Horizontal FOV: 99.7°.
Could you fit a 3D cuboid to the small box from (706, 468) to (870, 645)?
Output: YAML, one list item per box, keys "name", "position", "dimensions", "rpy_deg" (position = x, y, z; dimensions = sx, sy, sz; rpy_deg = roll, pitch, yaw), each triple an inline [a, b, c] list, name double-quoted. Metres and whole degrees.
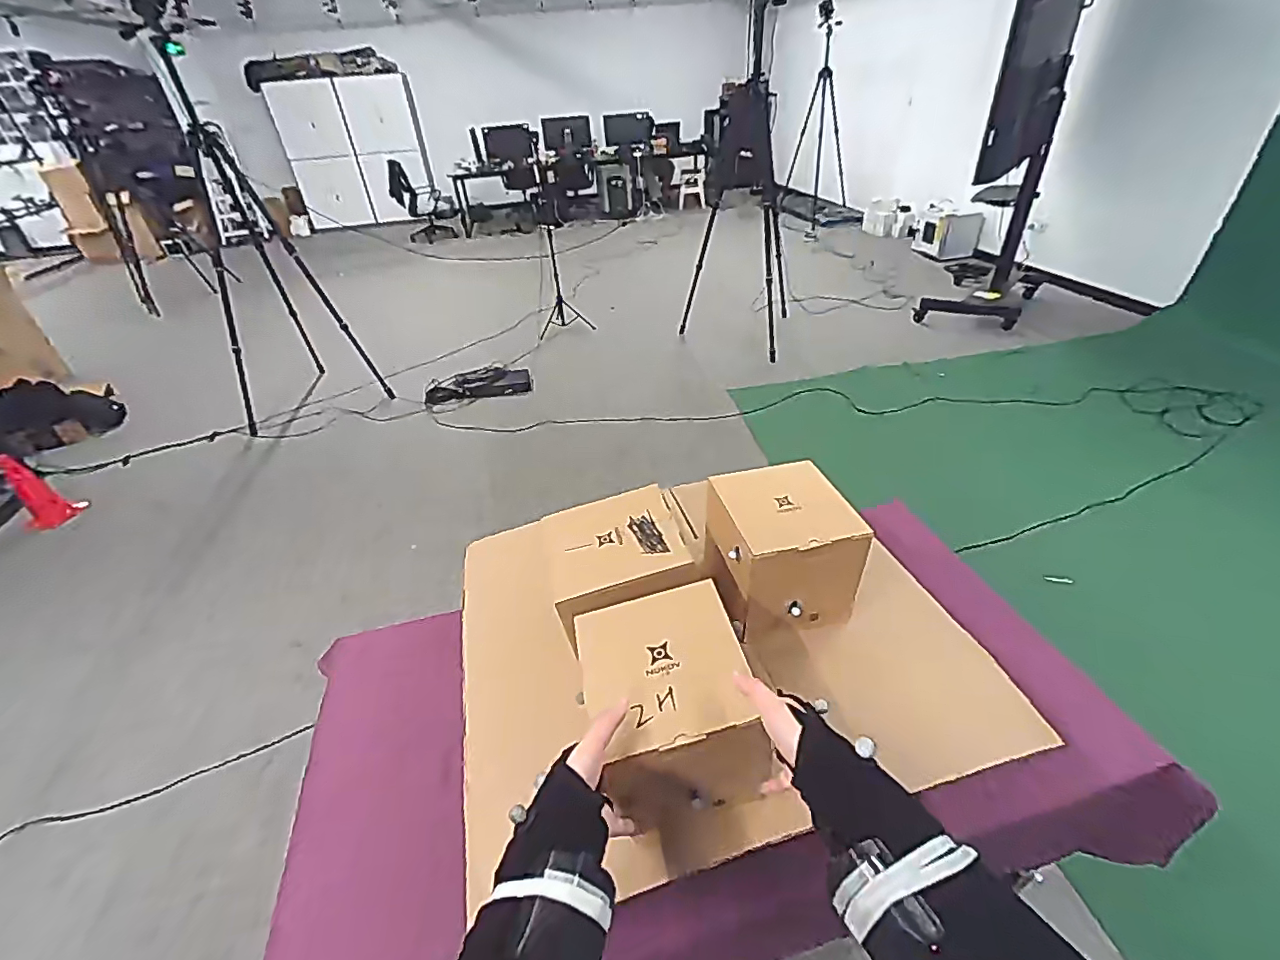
- name: "small box"
  position: [0.199, 0.108, 0.789]
  dimensions: [0.168, 0.176, 0.179]
  rpy_deg: [-10, 37, -10]
